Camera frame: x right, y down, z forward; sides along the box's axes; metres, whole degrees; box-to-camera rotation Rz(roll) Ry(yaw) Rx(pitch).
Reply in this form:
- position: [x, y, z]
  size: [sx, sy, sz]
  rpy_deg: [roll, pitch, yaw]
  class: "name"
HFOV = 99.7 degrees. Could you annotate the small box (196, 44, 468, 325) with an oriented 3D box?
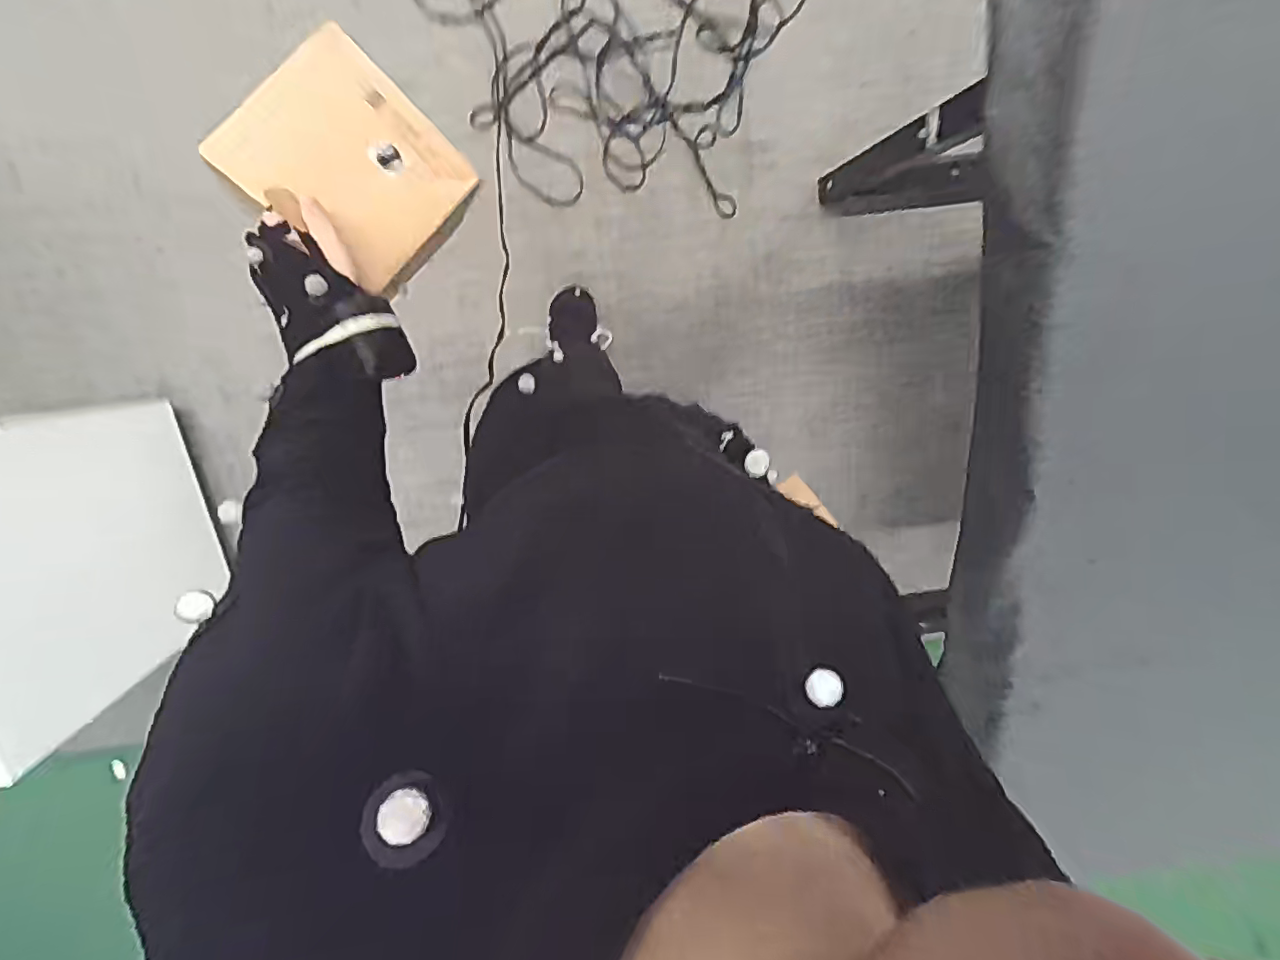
- position: [-0.304, -0.292, 0.573]
  size: [0.168, 0.179, 0.176]
  rpy_deg: [39, 82, -25]
  class: "small box"
